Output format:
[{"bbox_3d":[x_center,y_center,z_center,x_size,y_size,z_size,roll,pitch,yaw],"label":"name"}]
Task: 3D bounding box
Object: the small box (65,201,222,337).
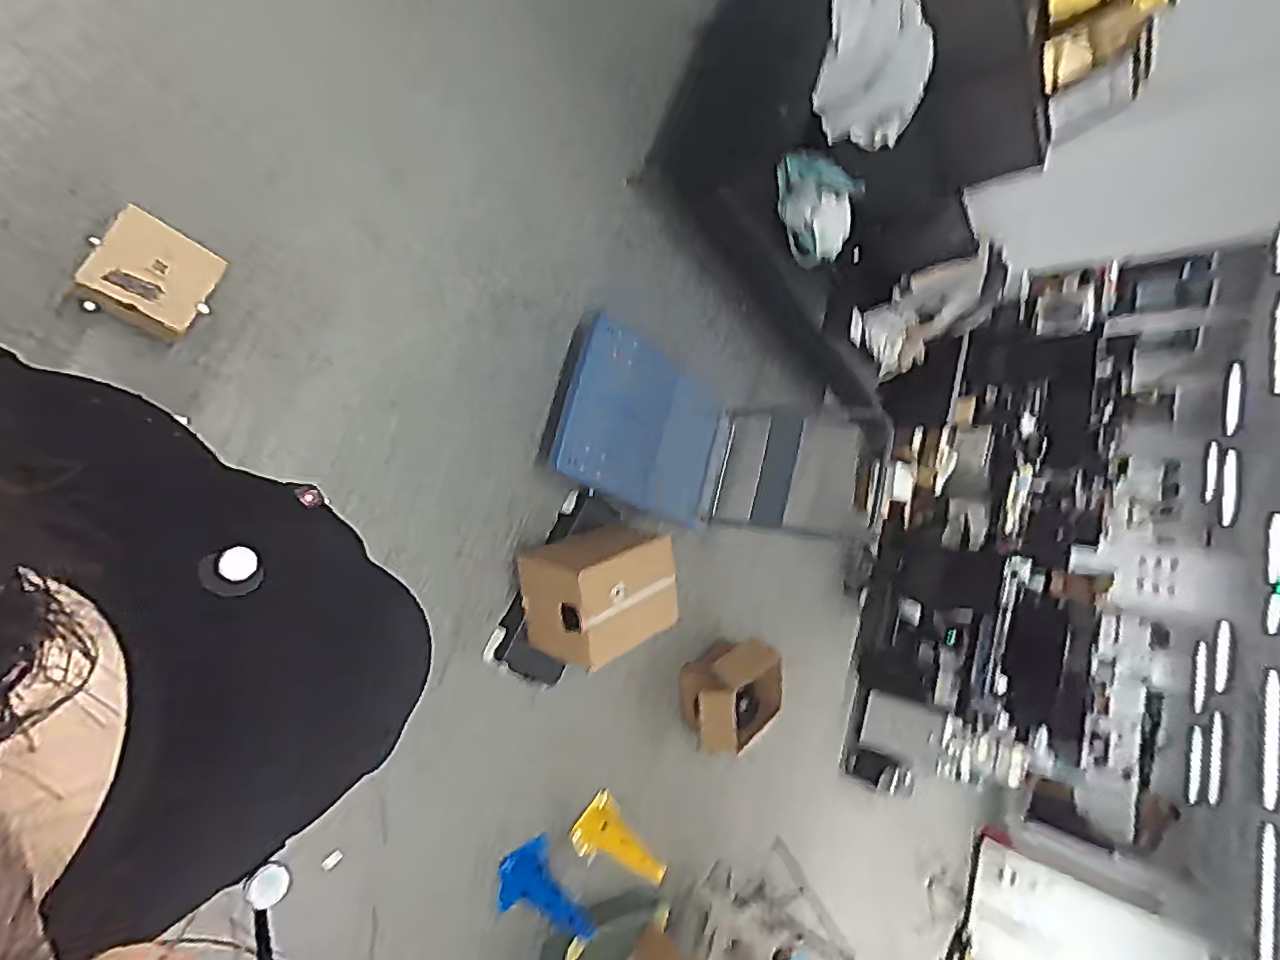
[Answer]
[{"bbox_3d":[-0.976,-0.402,1.066,0.168,0.176,0.179,36,67,-44],"label":"small box"}]
